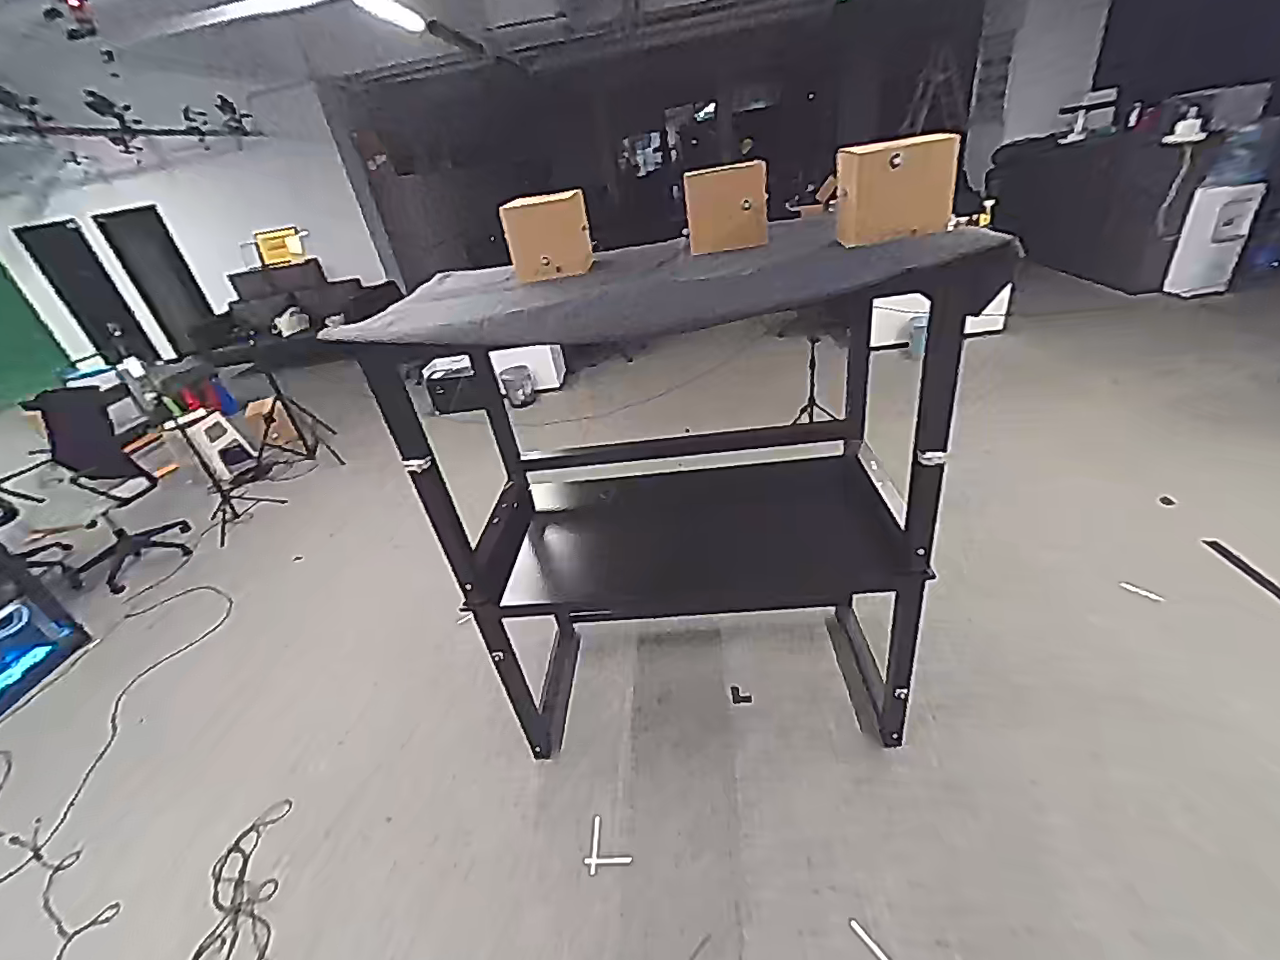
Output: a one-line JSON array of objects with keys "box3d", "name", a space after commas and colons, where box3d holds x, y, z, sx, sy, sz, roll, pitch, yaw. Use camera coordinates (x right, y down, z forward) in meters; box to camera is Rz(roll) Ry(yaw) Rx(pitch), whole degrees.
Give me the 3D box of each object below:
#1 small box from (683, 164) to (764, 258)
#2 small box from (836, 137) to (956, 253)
[{"box3d": [0.196, -0.632, 1.270, 0.179, 0.176, 0.168, -5, 31, 8], "name": "small box"}, {"box3d": [0.473, -0.538, 1.030, 0.168, 0.176, 0.179, -5, 30, 11], "name": "small box"}]
